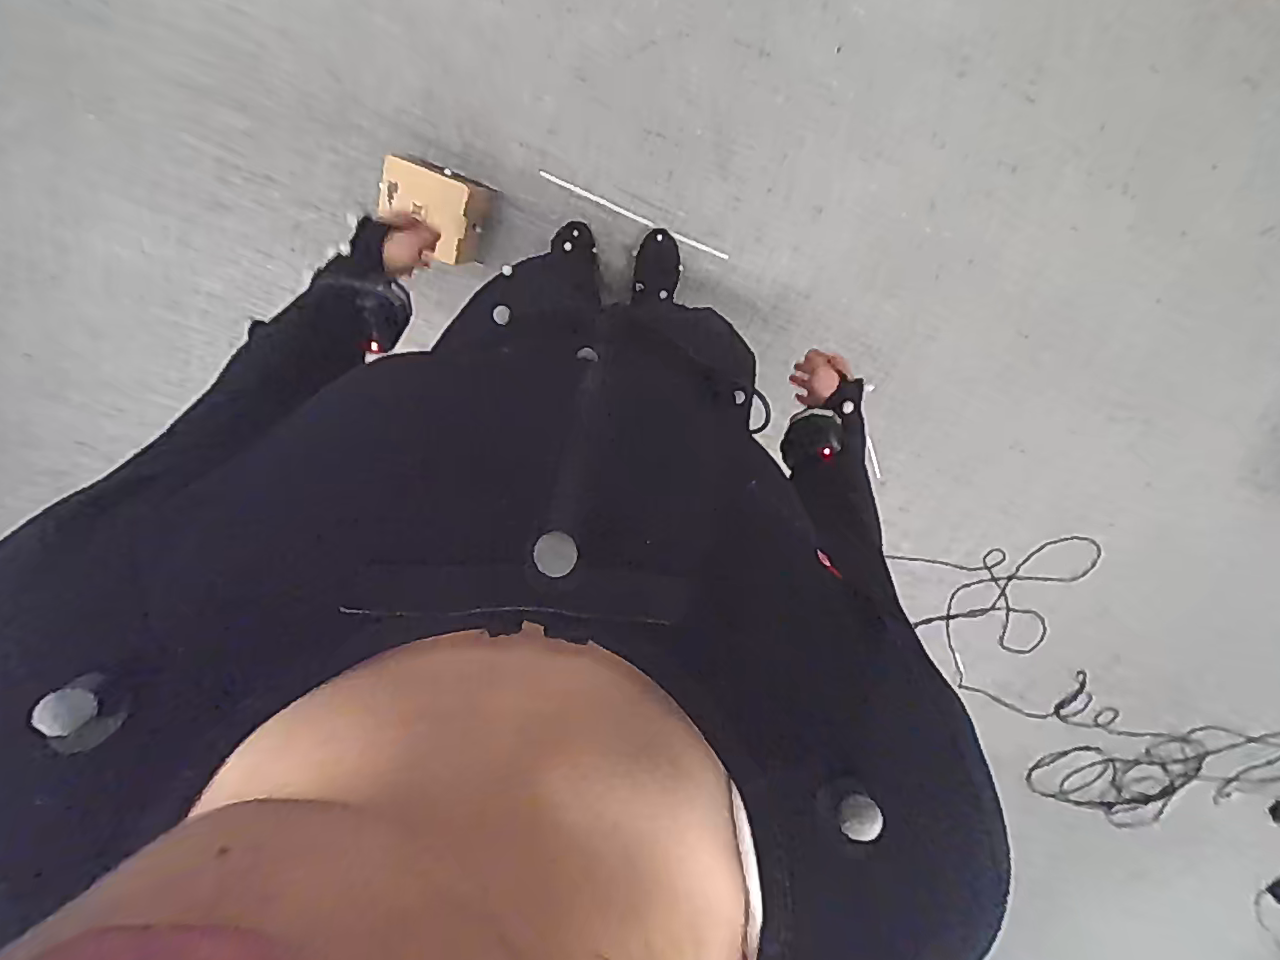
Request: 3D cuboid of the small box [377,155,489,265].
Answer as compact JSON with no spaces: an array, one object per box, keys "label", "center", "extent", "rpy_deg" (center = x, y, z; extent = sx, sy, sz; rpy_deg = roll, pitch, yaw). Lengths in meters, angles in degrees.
[{"label":"small box","center":[-0.457,-0.603,1.215],"extent":[0.179,0.176,0.168],"rpy_deg":[19,114,-8]}]
